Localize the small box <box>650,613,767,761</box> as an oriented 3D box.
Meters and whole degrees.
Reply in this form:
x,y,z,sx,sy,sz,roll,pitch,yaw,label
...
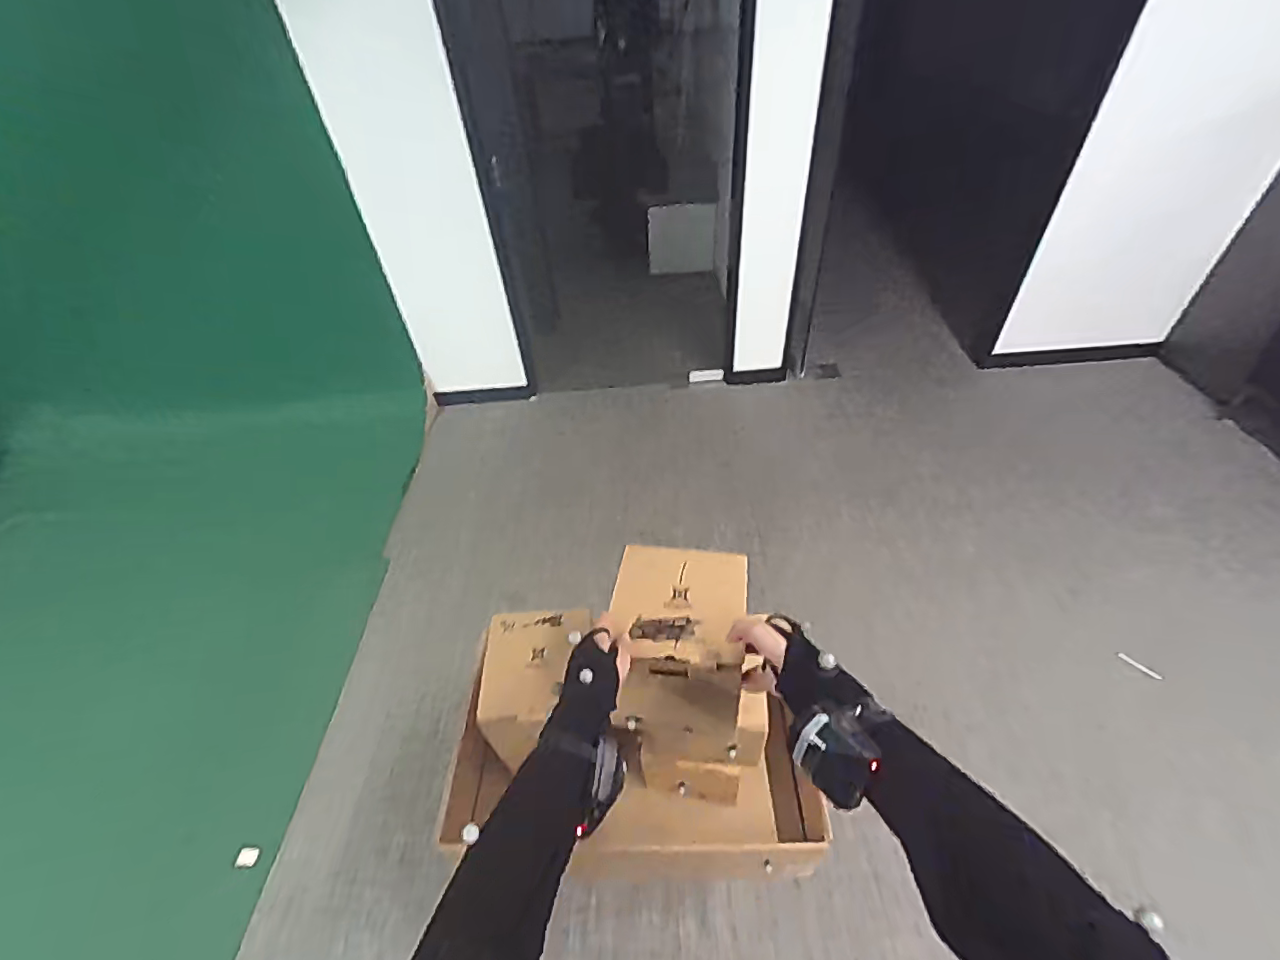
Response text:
x,y,z,sx,sy,sz,roll,pitch,yaw,label
0.110,0.329,0.863,0.168,0.176,0.179,2,45,7,small box

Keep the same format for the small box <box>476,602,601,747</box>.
x,y,z,sx,sy,sz,roll,pitch,yaw,label
-0.153,0.324,0.886,0.168,0.176,0.179,-4,46,0,small box

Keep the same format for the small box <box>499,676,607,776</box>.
x,y,z,sx,sy,sz,roll,pitch,yaw,label
-0.154,0.429,1.012,0.168,0.176,0.179,-5,45,1,small box

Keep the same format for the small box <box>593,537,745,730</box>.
x,y,z,sx,sy,sz,roll,pitch,yaw,label
0.047,0.200,0.706,0.168,0.176,0.179,4,41,10,small box
